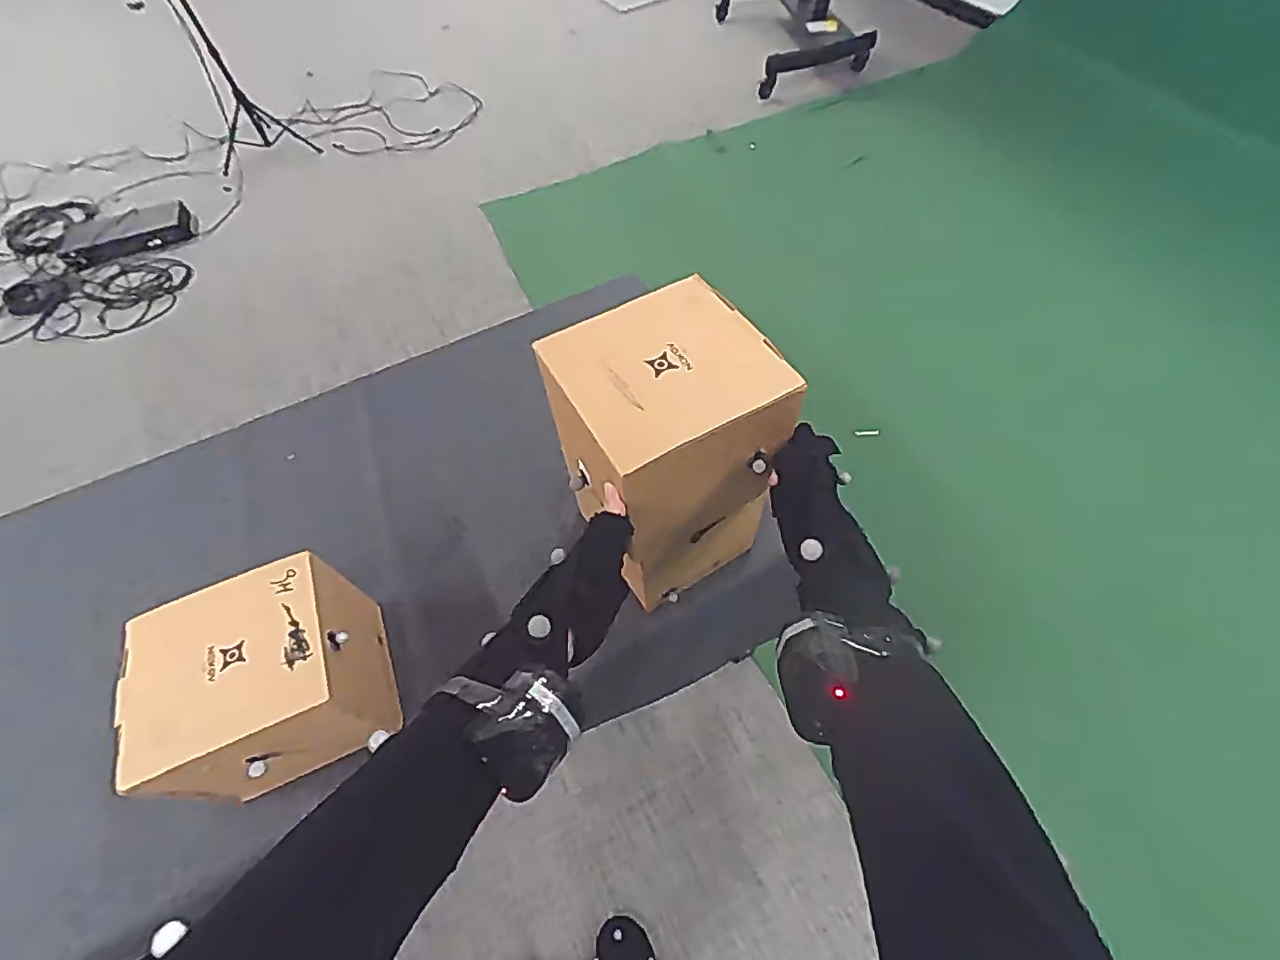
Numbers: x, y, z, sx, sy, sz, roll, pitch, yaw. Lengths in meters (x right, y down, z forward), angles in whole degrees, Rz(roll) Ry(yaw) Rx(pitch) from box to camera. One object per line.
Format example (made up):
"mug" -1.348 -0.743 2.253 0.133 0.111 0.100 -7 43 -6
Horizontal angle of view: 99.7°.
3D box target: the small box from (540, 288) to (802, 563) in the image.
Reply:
"small box" 0.026 -0.049 0.535 0.179 0.176 0.168 -28 59 -13

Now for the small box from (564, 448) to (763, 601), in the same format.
"small box" 0.028 0.030 0.676 0.168 0.176 0.179 -29 60 -15

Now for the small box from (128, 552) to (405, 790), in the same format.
"small box" -0.384 0.211 0.582 0.179 0.176 0.168 -22 59 -11
